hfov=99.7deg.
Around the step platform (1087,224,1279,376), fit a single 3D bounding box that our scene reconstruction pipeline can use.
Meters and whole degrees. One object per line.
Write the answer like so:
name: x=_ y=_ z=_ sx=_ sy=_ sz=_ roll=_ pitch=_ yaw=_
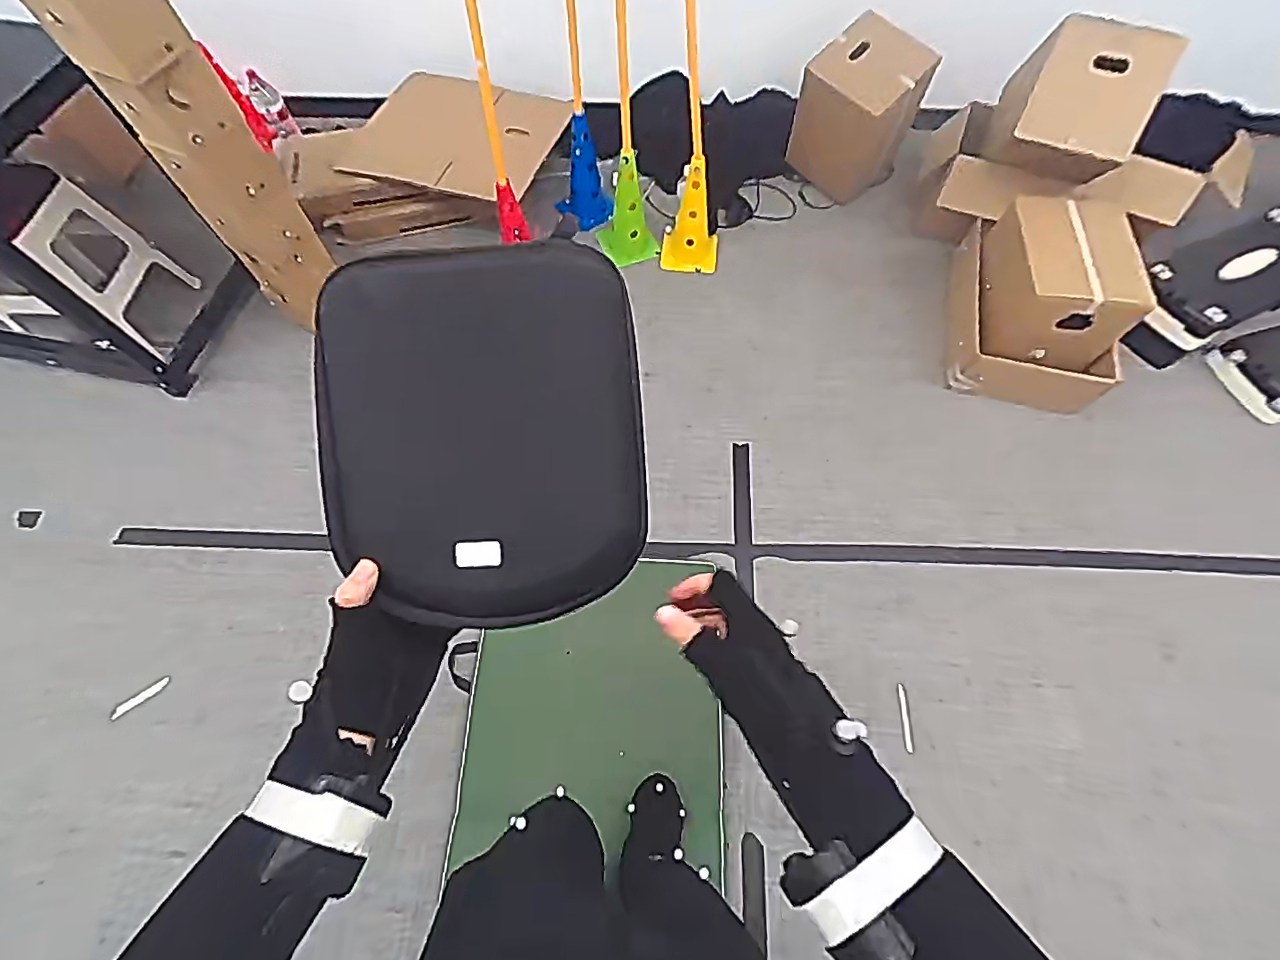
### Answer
step platform: x=1.895 y=-0.610 z=1.812 sx=0.684 sy=0.204 sz=0.286 roll=-25 pitch=67 yaw=-11
